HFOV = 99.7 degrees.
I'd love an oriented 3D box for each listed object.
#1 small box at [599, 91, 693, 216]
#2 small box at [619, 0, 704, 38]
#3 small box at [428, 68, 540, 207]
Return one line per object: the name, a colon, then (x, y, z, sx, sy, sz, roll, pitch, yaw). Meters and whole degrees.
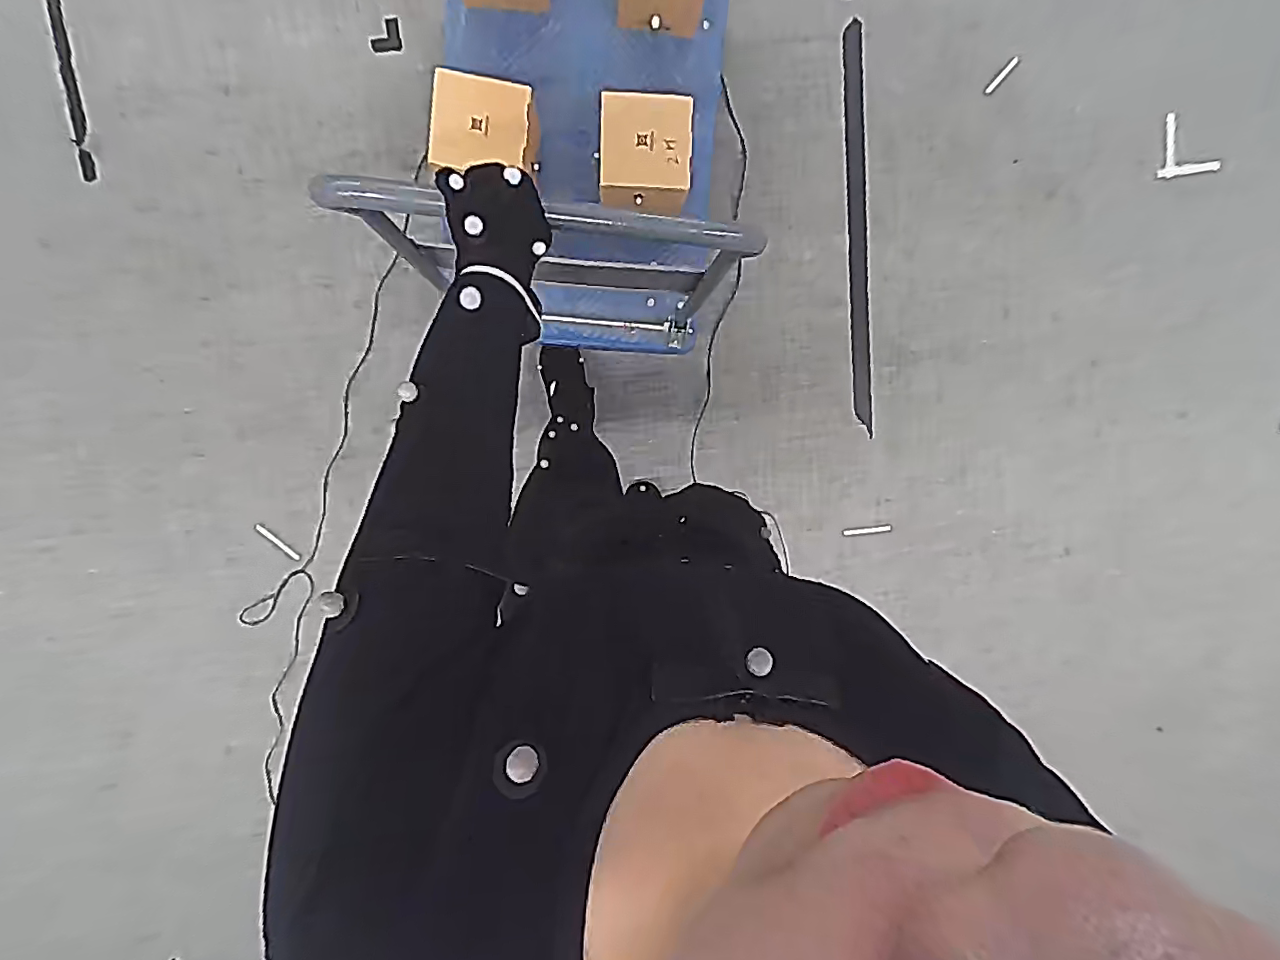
small box: (0.007, -0.651, 1.098, 0.179, 0.176, 0.168, 1, 99, -4)
small box: (0.050, -1.014, 1.045, 0.168, 0.176, 0.179, 6, 100, -5)
small box: (-0.302, -0.666, 1.074, 0.179, 0.176, 0.168, 7, 98, -7)
